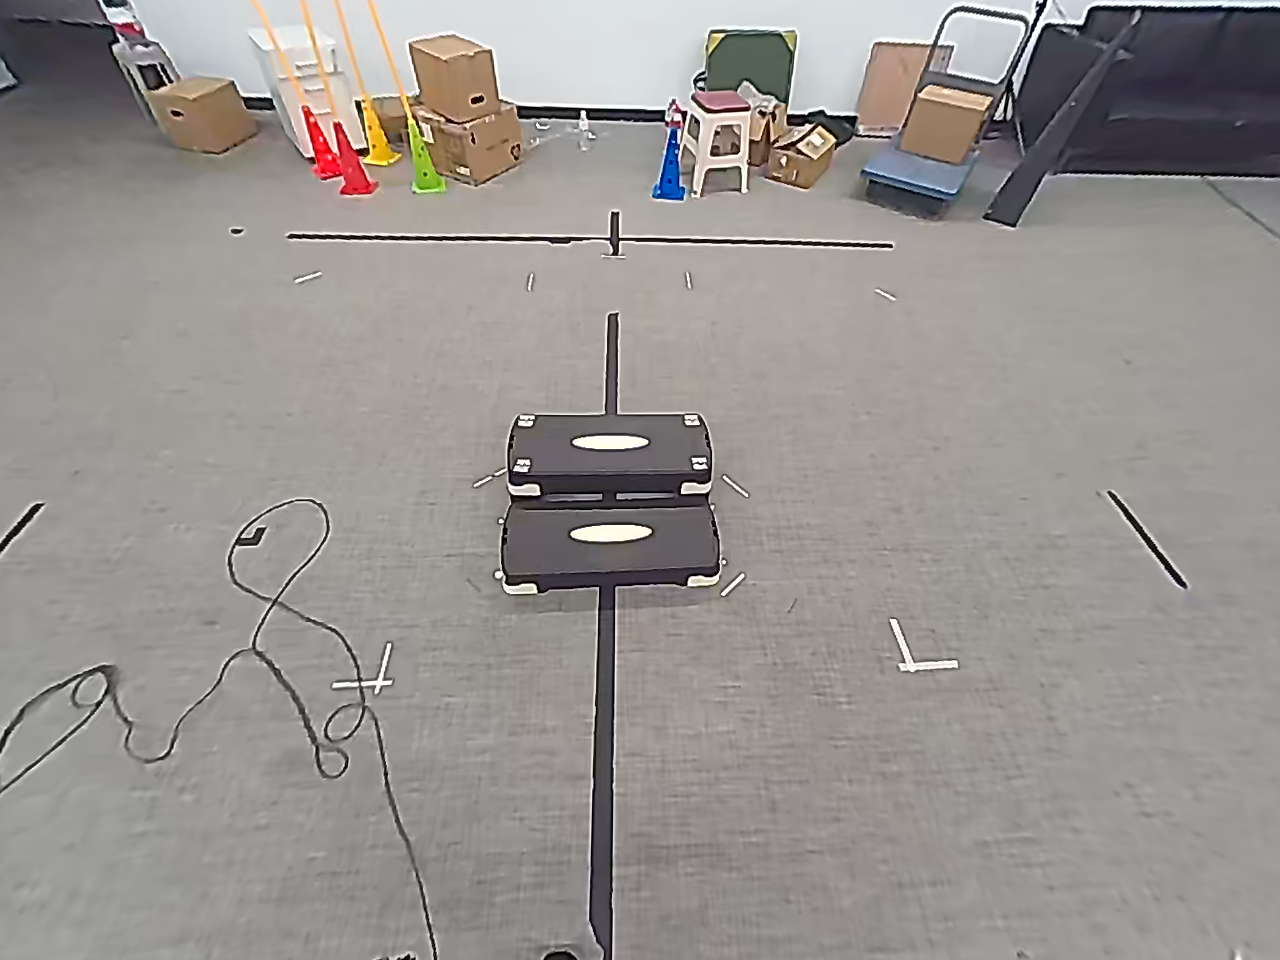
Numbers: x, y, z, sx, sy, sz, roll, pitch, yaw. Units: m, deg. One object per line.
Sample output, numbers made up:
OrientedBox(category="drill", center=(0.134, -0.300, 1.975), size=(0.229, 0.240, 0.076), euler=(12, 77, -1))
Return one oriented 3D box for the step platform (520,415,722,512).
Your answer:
OrientedBox(category="step platform", center=(-0.063, -0.065, 1.854), size=(0.684, 0.204, 0.286), euler=(0, 50, -5))
